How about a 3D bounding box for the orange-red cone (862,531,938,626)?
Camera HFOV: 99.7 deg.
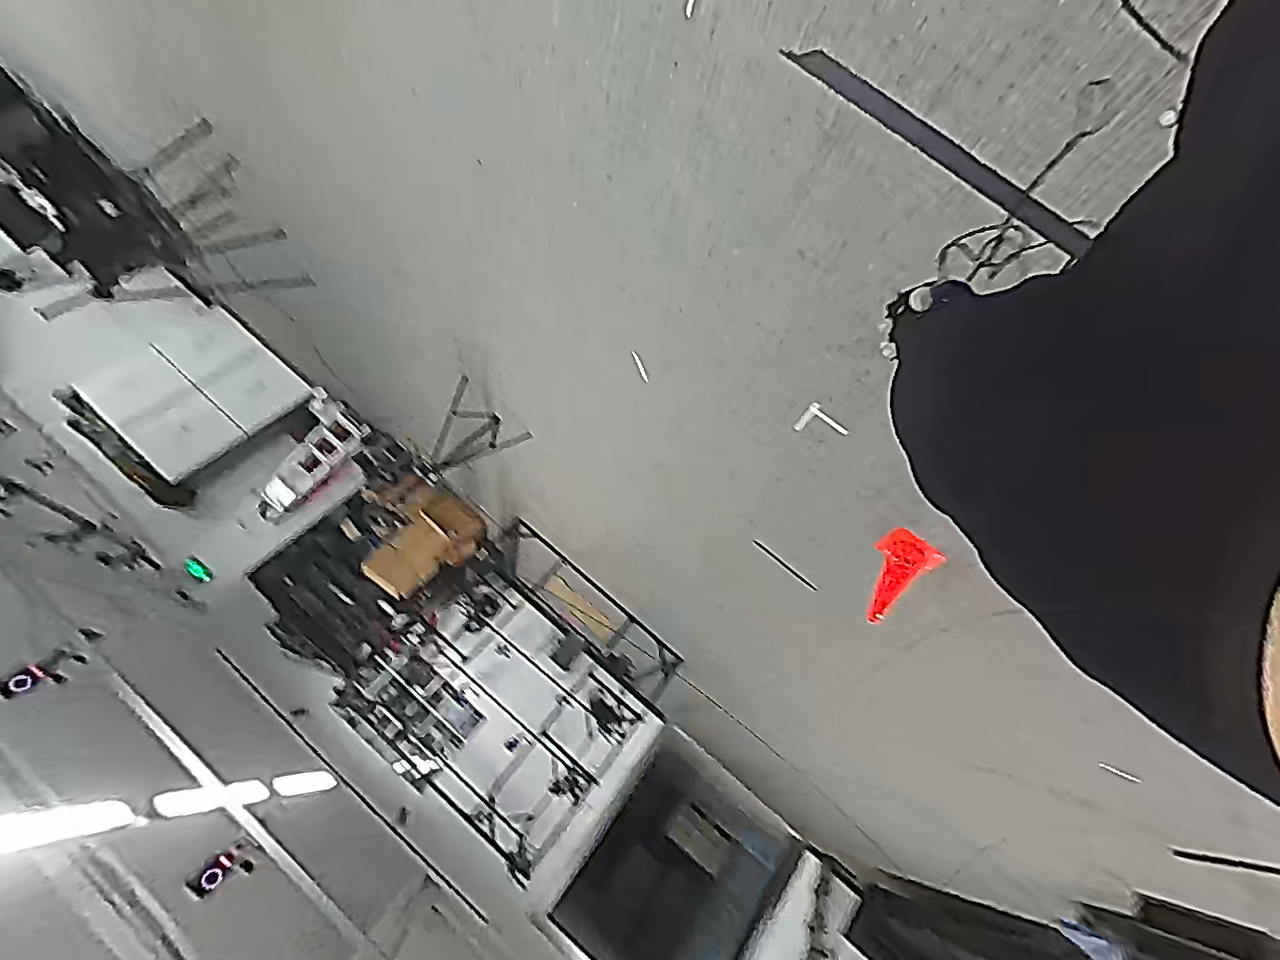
[{"bbox_3d":[0.927,0.399,2.030,0.199,0.360,0.198,37,152,9],"label":"orange-red cone"}]
